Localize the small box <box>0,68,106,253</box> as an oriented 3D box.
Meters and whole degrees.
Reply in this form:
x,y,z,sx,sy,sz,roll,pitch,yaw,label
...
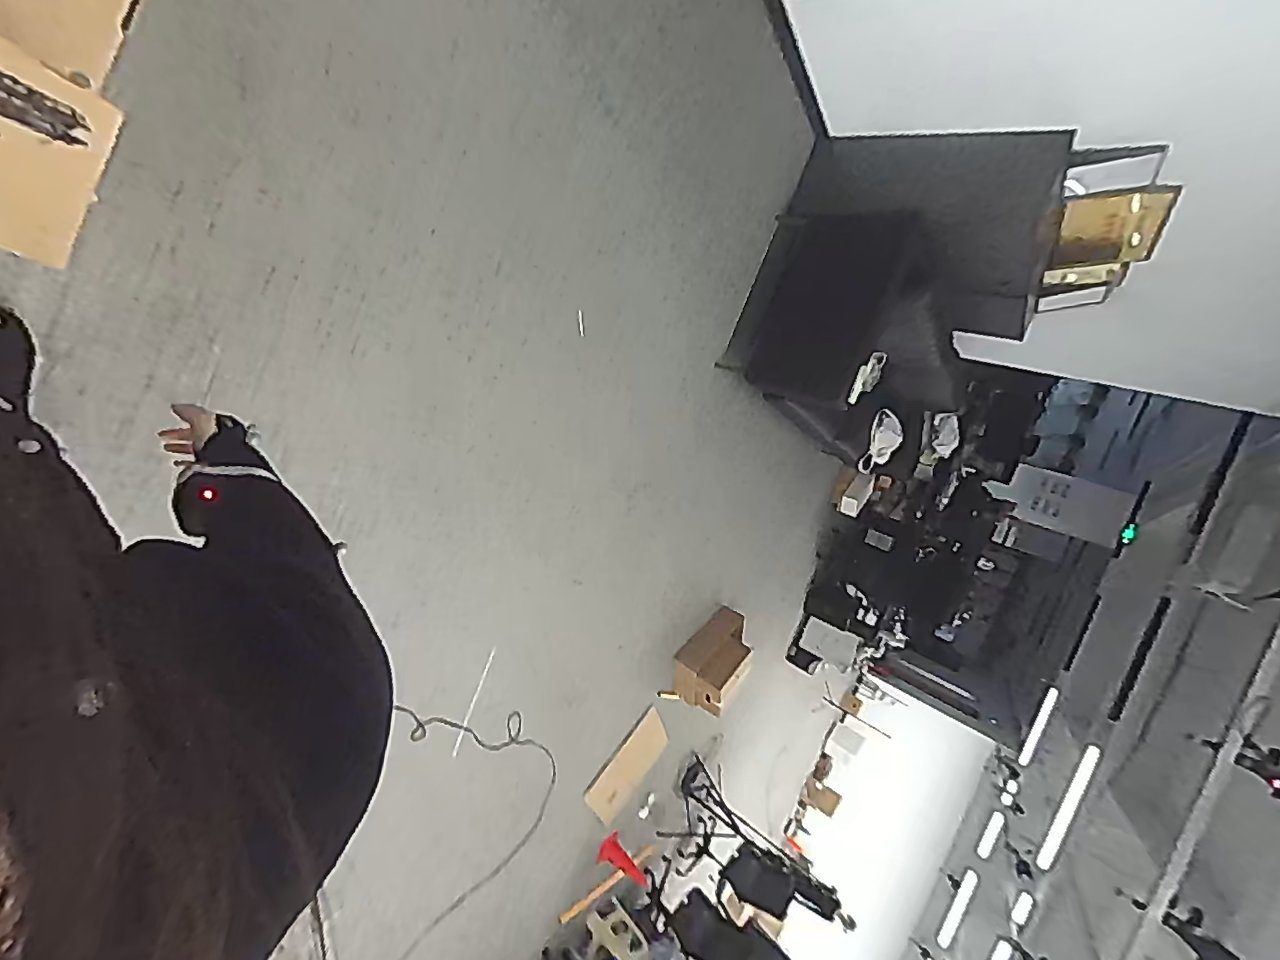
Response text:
x,y,z,sx,sy,sz,roll,pitch,yaw,label
-0.766,-0.385,0.612,0.179,0.176,0.168,19,92,-56,small box
